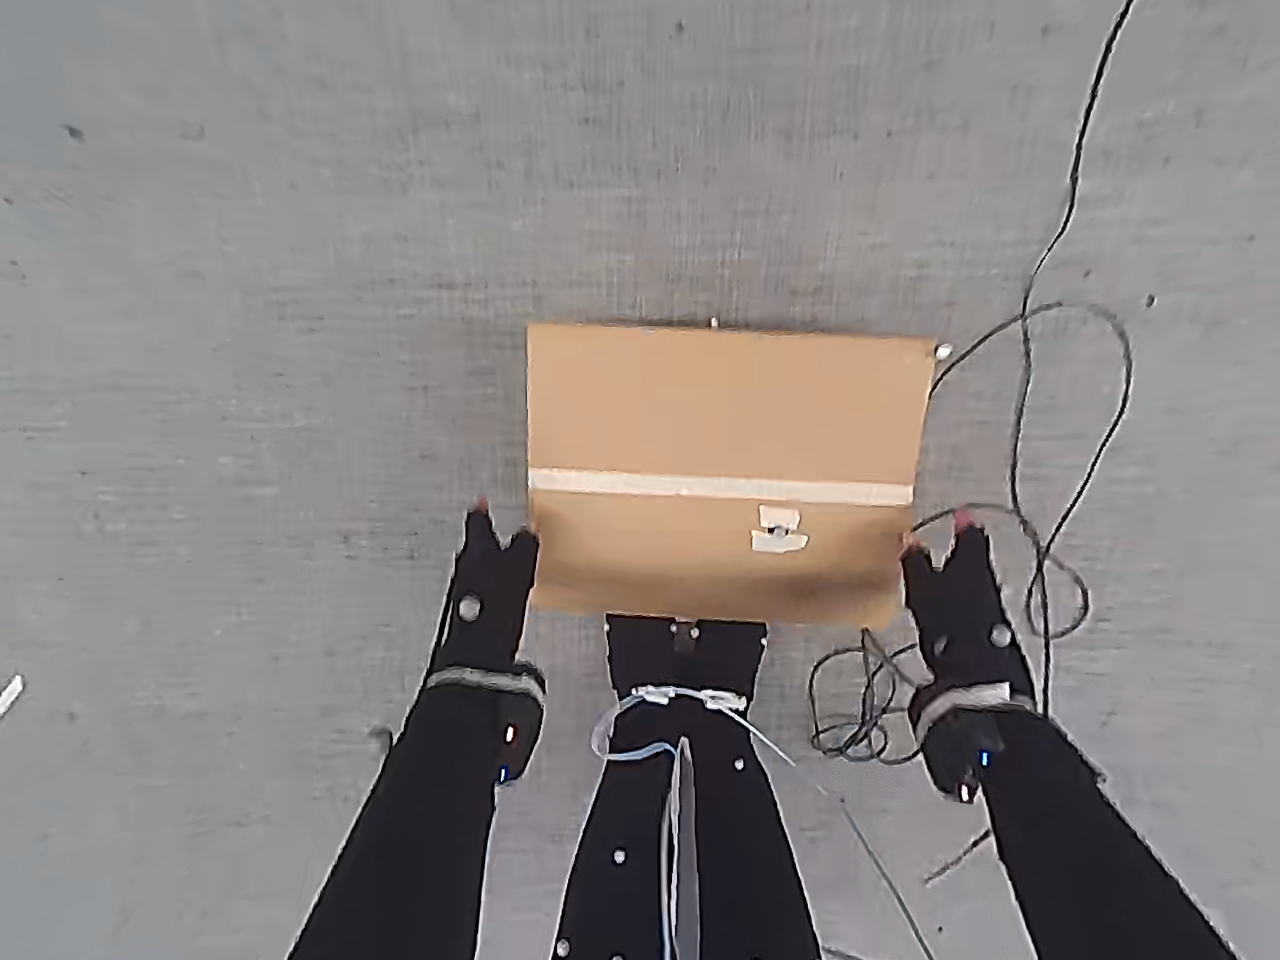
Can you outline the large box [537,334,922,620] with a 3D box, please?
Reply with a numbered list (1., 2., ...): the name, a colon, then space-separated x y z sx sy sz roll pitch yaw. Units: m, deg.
1. large box: 0.091 -0.026 0.732 0.408 0.320 0.320 2 104 1
